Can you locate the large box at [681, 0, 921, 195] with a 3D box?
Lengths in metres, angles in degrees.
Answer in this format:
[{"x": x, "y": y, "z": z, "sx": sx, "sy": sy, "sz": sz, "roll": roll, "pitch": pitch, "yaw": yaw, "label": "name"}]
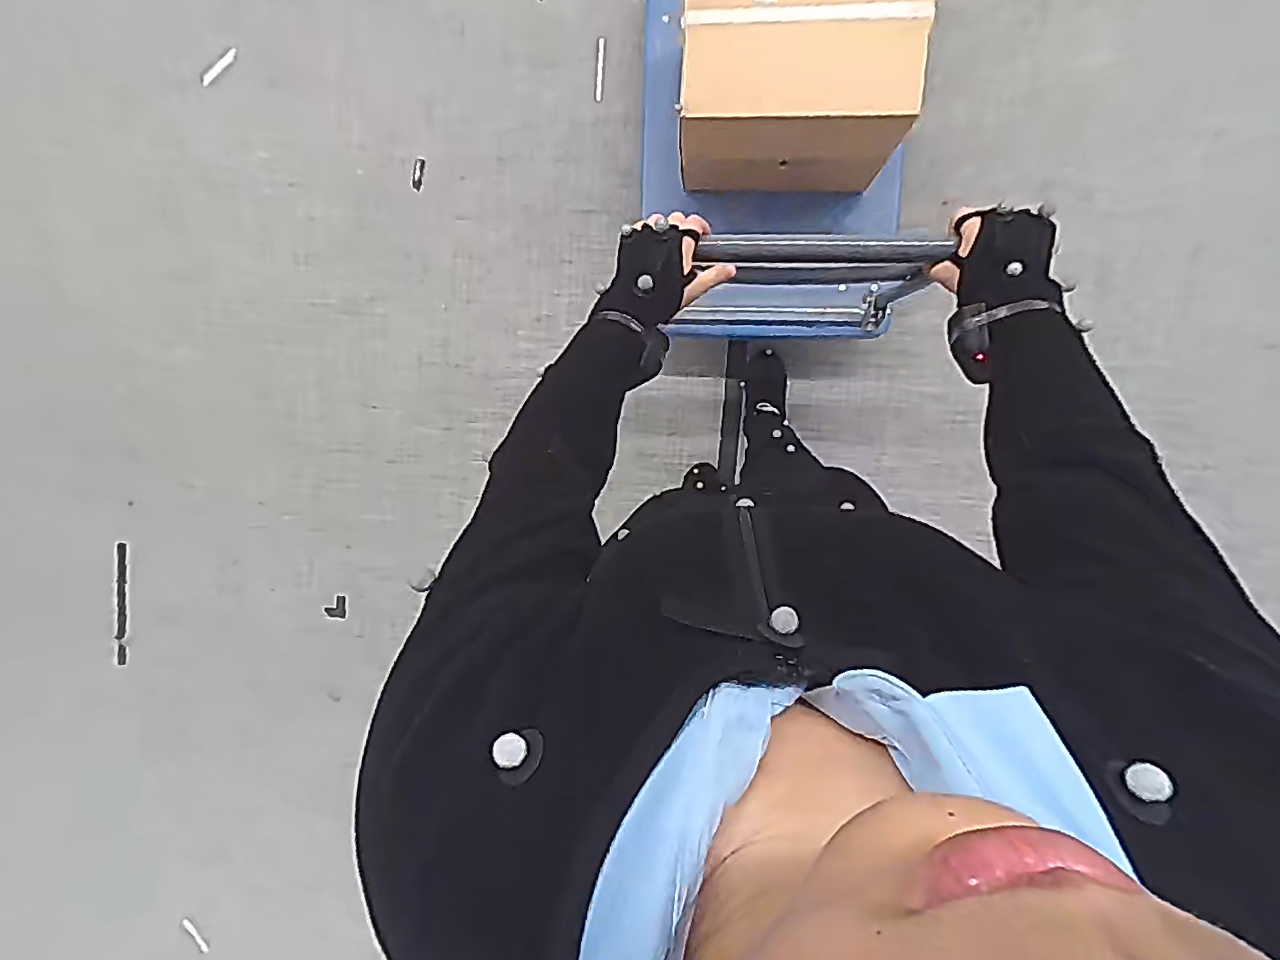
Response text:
[{"x": 0.294, "y": -0.790, "z": 1.078, "sx": 0.408, "sy": 0.320, "sz": 0.320, "roll": 3, "pitch": 95, "yaw": 7, "label": "large box"}]
